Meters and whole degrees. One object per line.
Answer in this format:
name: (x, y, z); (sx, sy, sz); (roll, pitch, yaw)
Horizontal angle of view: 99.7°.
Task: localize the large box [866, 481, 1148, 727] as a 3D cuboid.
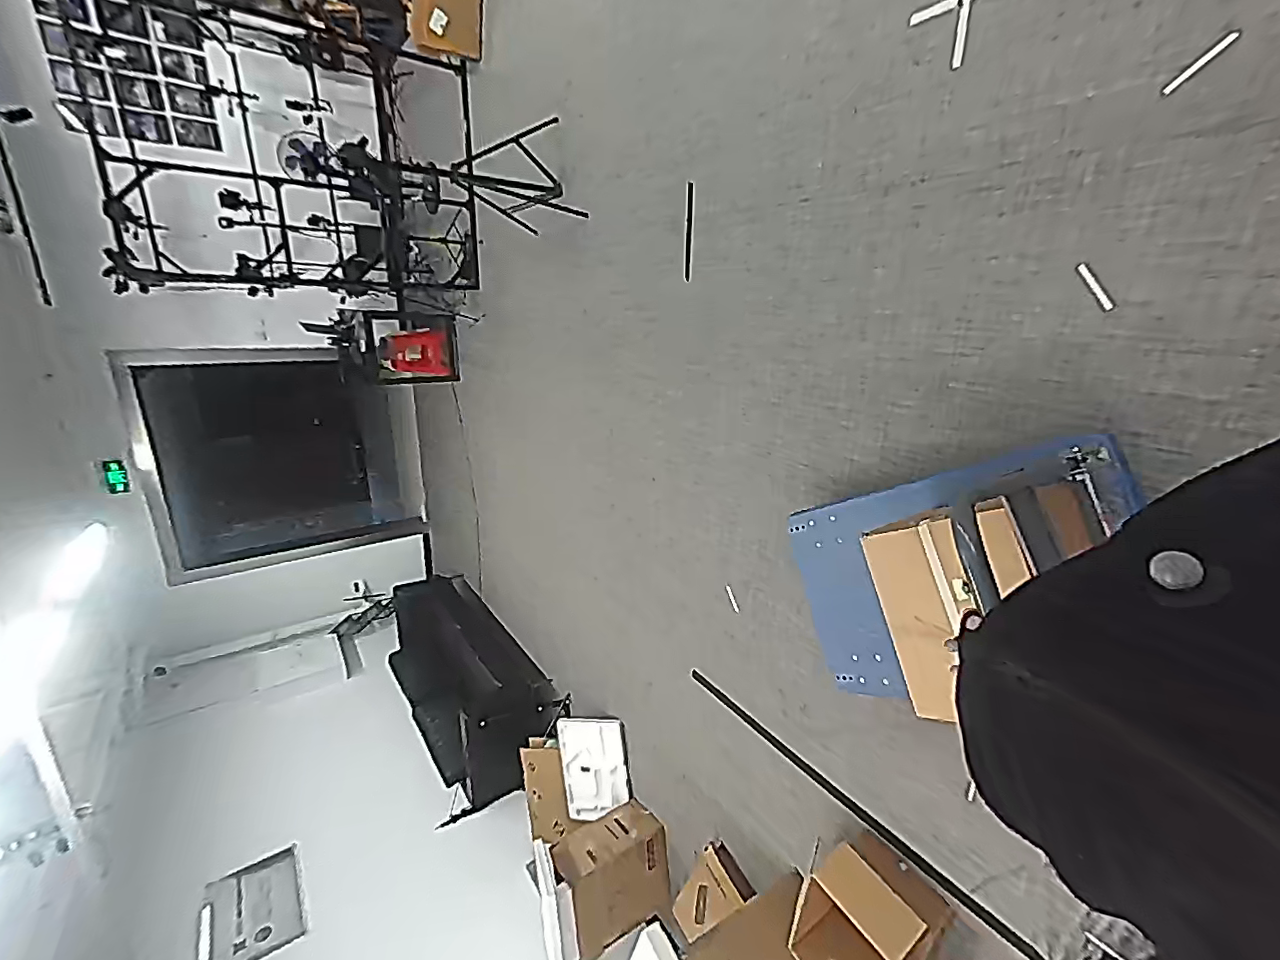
large box: (0.757, 0.248, 1.136); (0.320, 0.320, 0.408); (-27, 76, 54)
